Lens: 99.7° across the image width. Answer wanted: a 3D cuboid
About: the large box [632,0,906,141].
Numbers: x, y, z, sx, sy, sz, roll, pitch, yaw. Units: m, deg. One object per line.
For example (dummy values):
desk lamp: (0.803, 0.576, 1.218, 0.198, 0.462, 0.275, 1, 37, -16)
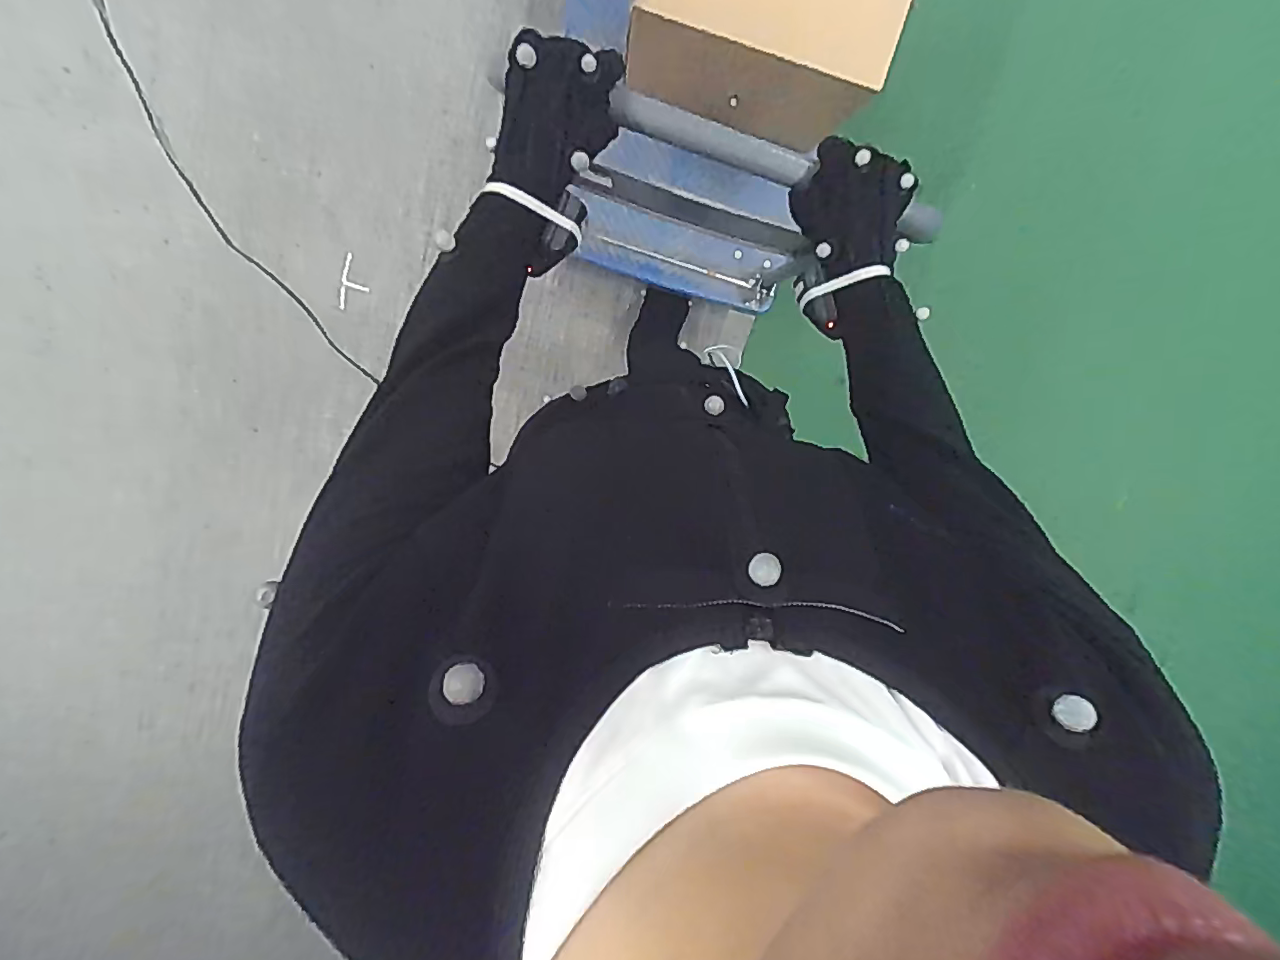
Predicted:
large box: (0.216, -0.848, 0.940, 0.408, 0.320, 0.320, 12, 104, -6)
